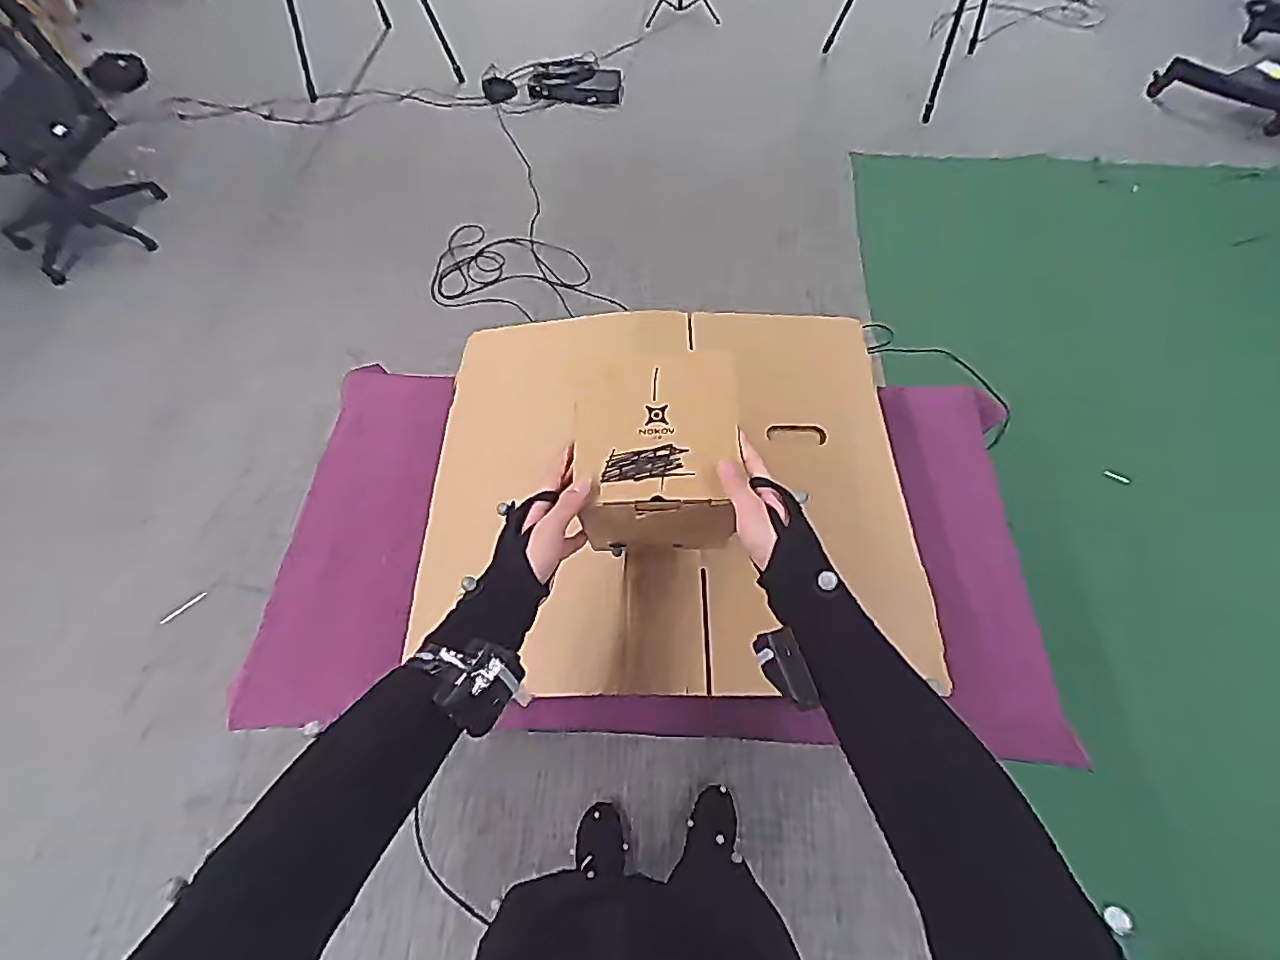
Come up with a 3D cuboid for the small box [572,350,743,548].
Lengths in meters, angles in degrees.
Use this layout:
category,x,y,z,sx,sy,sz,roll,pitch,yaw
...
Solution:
category,x,y,z,sx,sy,sz,roll,pitch,yaw
small box,0.022,-0.025,0.614,0.168,0.176,0.179,-1,66,2
